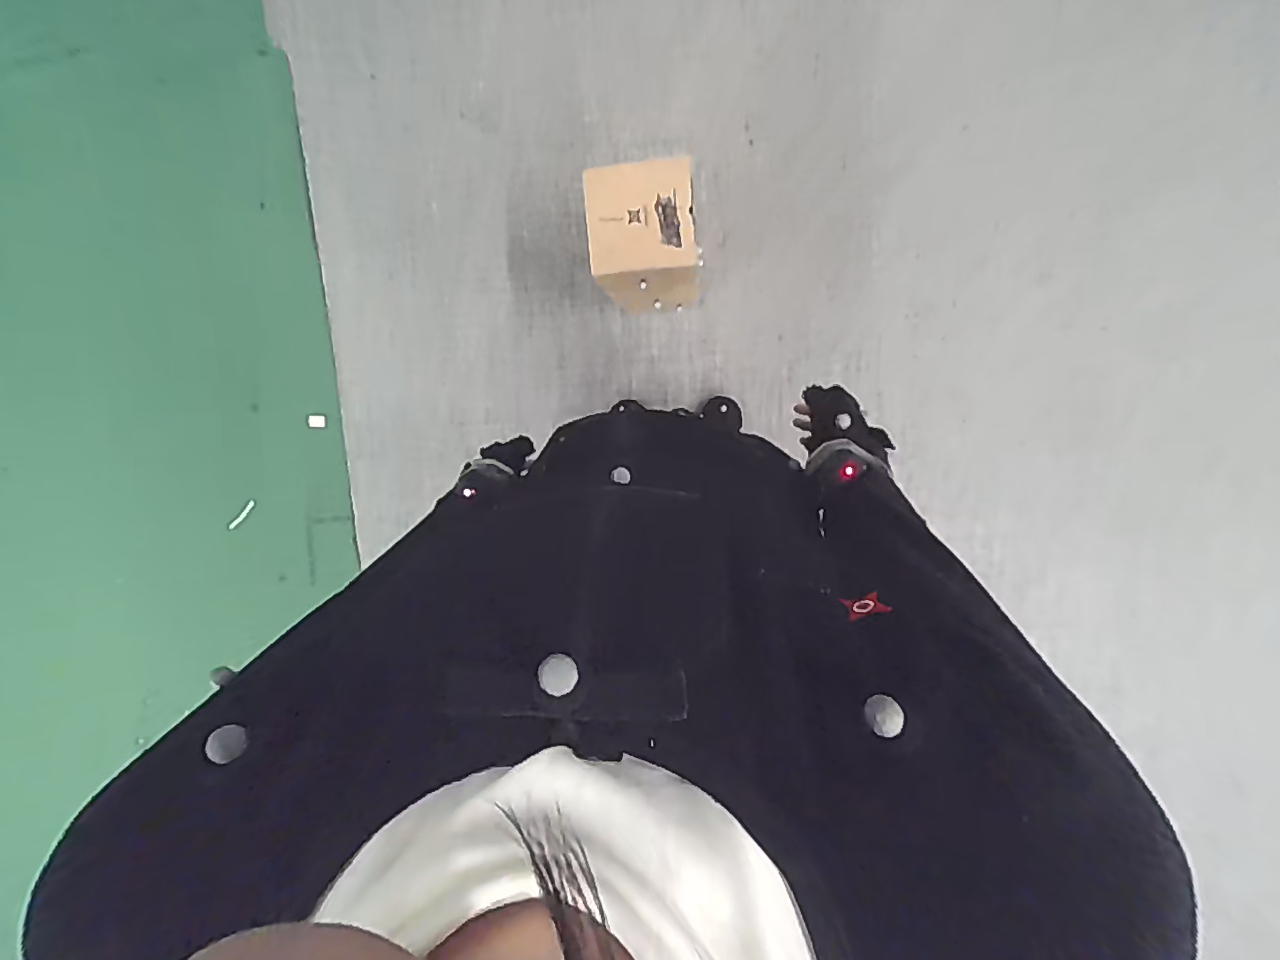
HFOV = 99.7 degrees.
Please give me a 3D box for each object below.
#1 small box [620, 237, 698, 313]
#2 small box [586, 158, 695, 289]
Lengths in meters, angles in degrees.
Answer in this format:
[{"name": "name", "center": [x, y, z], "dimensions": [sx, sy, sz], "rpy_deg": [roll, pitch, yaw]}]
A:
[{"name": "small box", "center": [0.046, -0.492, 1.268], "dimensions": [0.179, 0.176, 0.168], "rpy_deg": [-3, 99, 8]}, {"name": "small box", "center": [0.007, -0.437, 0.944], "dimensions": [0.179, 0.176, 0.168], "rpy_deg": [0, 98, 6]}]
